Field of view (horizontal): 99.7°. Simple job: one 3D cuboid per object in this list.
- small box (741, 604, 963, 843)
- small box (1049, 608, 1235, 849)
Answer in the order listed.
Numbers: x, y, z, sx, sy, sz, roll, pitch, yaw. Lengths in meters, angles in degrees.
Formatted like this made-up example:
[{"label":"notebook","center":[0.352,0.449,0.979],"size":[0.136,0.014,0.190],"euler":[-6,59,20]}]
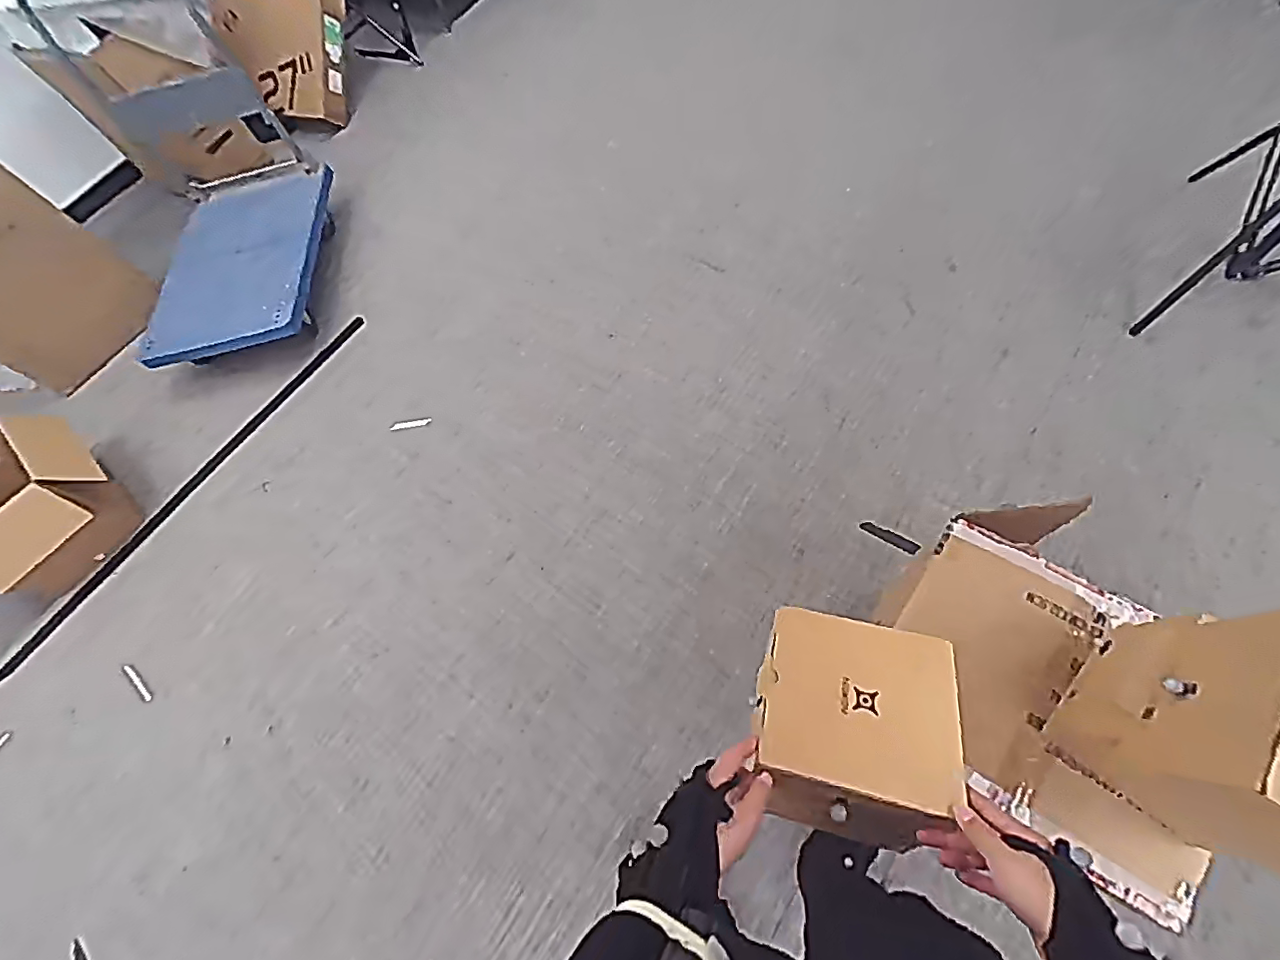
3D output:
[{"label":"small box","center":[0.210,0.259,0.569],"size":[0.179,0.176,0.168],"euler":[9,50,14]},{"label":"small box","center":[0.593,0.267,0.575],"size":[0.179,0.176,0.168],"euler":[37,79,22]}]
